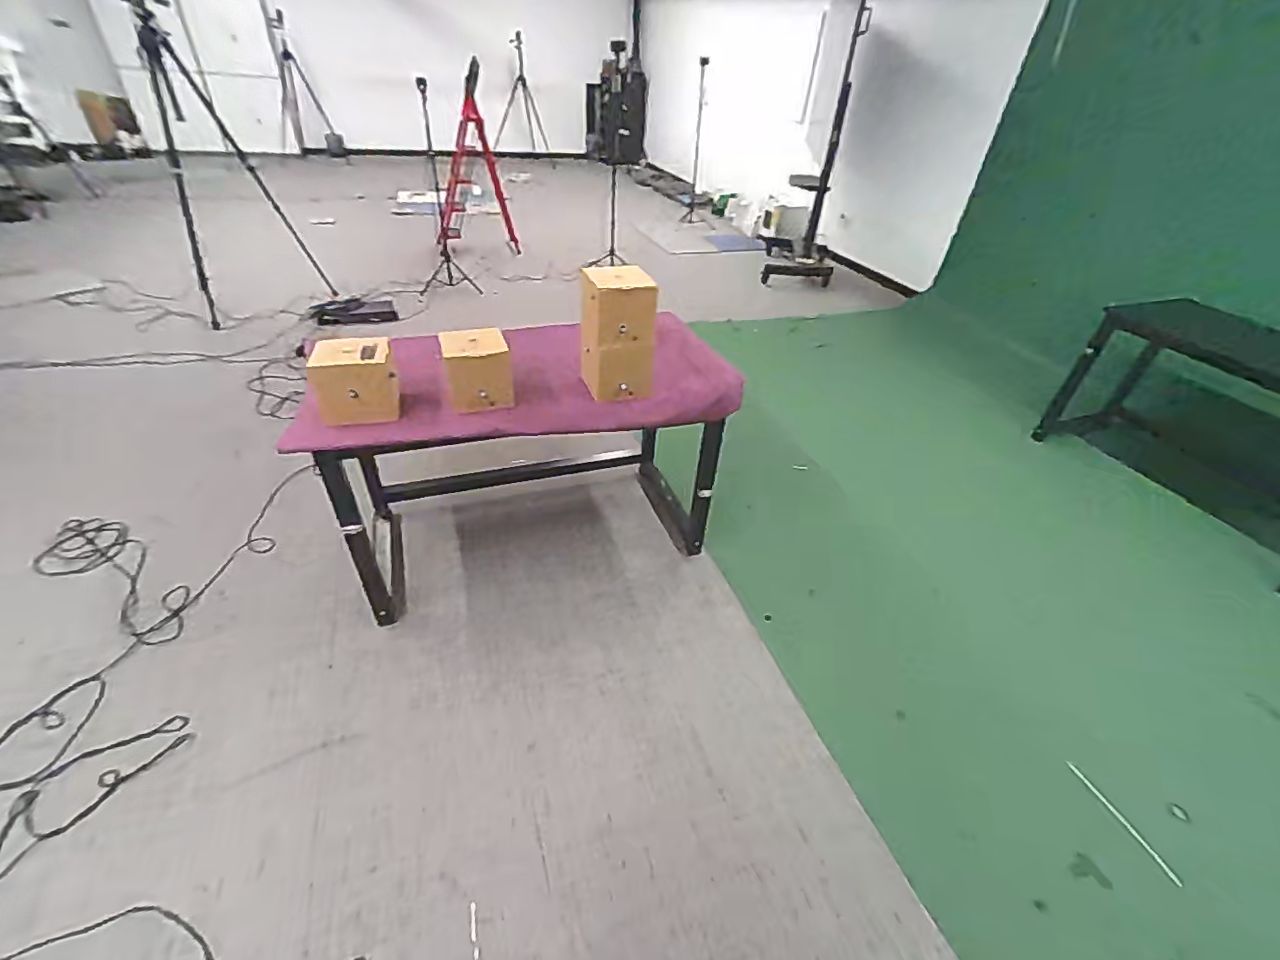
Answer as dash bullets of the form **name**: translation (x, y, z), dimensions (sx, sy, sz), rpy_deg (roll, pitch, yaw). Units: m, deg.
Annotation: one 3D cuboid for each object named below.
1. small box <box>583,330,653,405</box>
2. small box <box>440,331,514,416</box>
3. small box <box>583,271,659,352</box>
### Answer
- **small box**: translation (-0.071, -0.339, 1.598), dimensions (0.168, 0.176, 0.179), rpy_deg (-10, 40, -18)
- **small box**: translation (-0.451, -0.296, 1.498), dimensions (0.168, 0.176, 0.179), rpy_deg (-11, 39, -19)
- **small box**: translation (-0.061, -0.470, 1.503), dimensions (0.168, 0.176, 0.179), rpy_deg (-10, 40, -18)
